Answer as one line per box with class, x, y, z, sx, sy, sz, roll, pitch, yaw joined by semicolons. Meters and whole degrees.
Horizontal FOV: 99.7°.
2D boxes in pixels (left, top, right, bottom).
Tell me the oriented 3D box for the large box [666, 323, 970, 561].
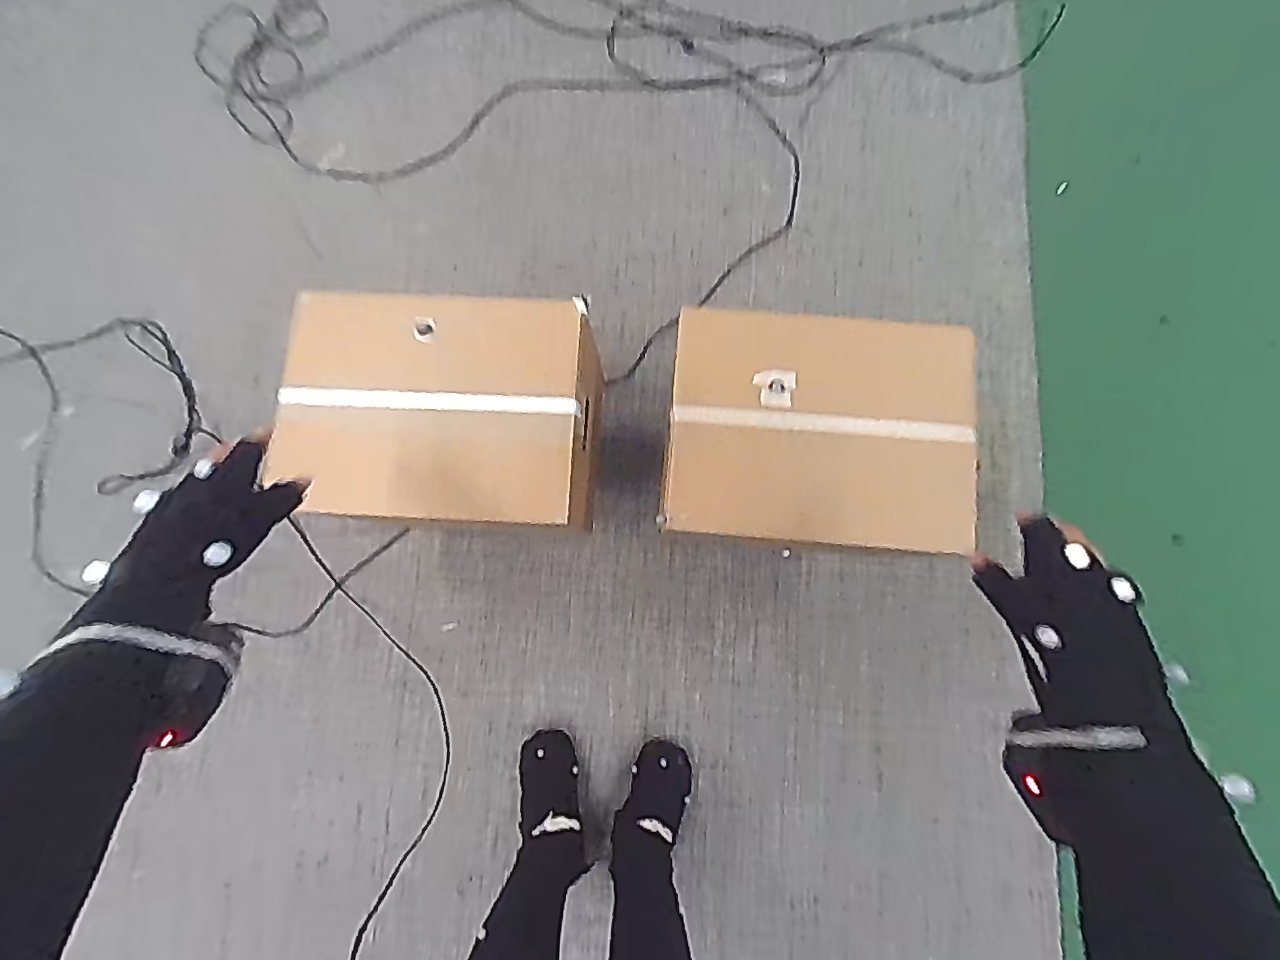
large box;0.256;-0.040;0.891;0.408;0.320;0.320;5;81;2
